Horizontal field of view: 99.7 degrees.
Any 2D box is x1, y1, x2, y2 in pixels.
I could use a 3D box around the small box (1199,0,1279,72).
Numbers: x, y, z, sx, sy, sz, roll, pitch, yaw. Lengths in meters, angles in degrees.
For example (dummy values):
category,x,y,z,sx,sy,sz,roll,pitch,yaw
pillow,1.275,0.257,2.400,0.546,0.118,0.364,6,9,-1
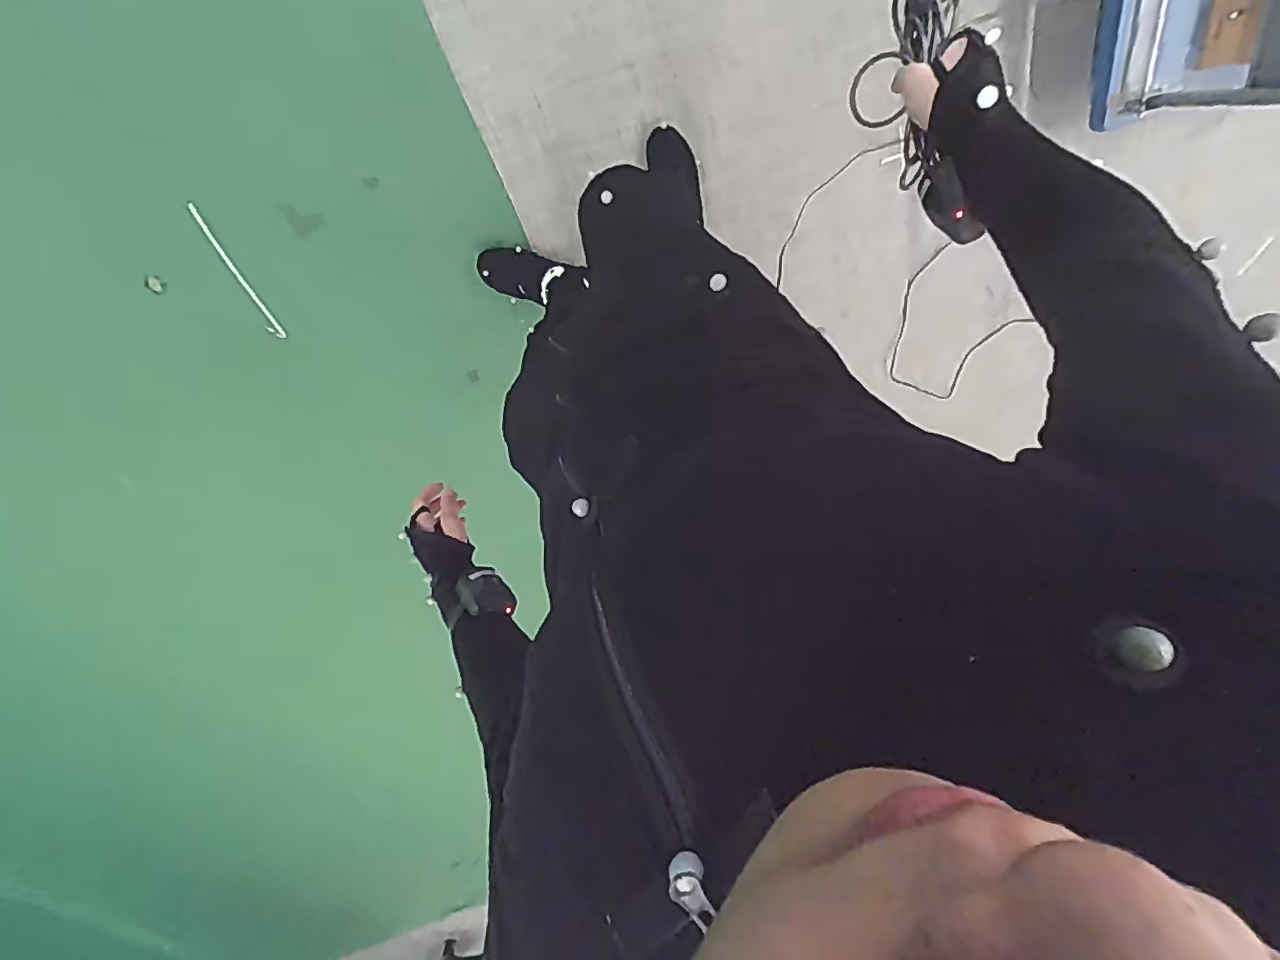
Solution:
category,x,y,z,sx,sy,sz,roll,pitch,yaw
small box,1.378,-0.997,1.151,0.179,0.176,0.168,-18,123,0
